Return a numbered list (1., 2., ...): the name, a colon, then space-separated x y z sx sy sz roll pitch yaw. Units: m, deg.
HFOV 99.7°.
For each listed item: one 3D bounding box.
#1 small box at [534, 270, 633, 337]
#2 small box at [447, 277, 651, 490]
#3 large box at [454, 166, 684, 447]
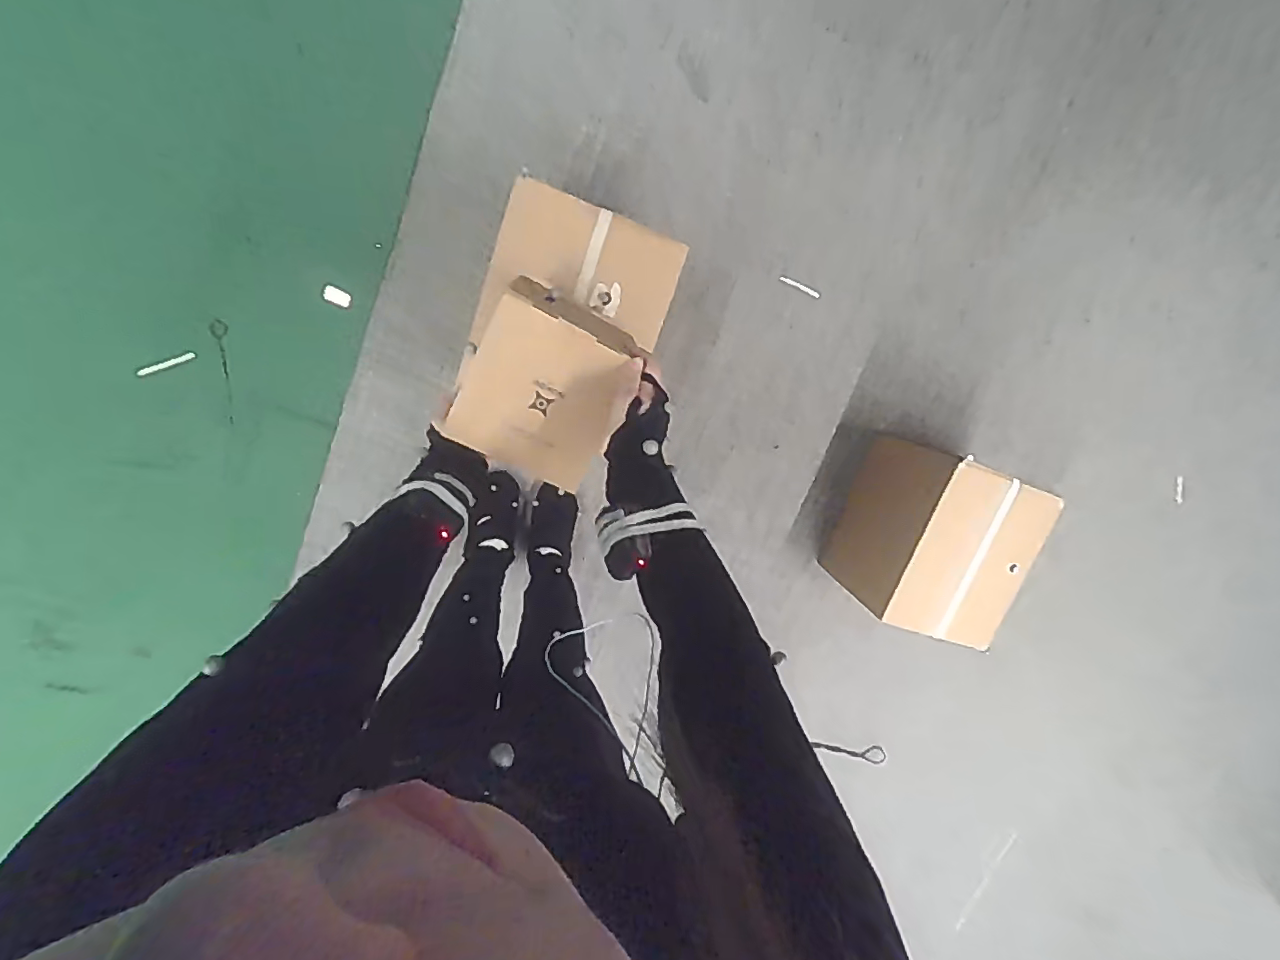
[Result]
1. small box: -0.134 -0.209 0.869 0.168 0.176 0.179 29 100 -15
2. small box: -0.108 -0.125 0.654 0.168 0.176 0.179 26 111 -17
3. large box: -0.148 -0.322 1.091 0.320 0.320 0.408 18 102 -14
